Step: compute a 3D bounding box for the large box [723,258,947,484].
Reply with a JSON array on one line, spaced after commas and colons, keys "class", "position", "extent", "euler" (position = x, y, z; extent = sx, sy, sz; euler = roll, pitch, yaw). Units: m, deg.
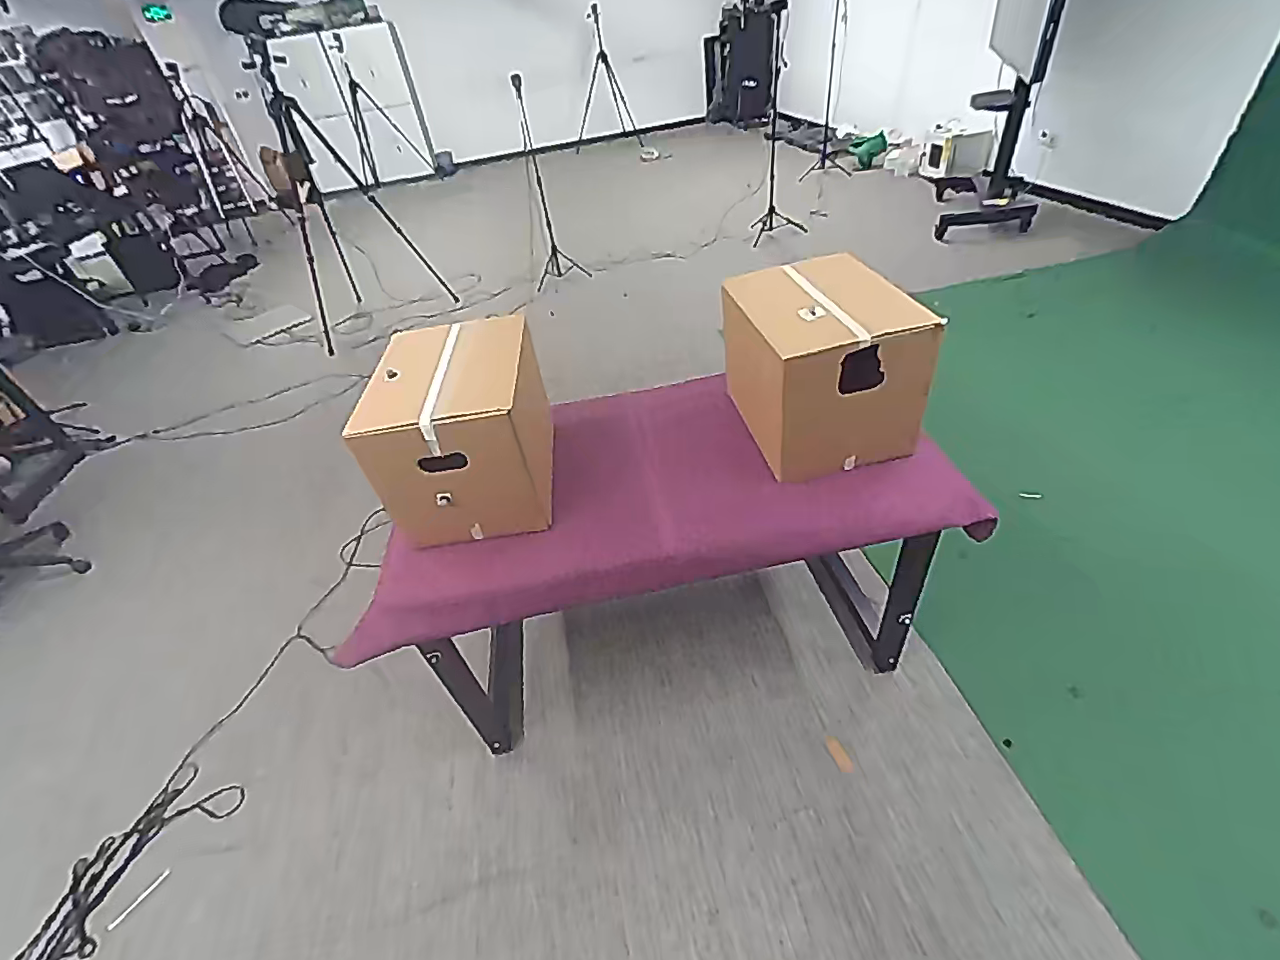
[{"class": "large box", "position": [0.397, -0.257, 1.223], "extent": [0.320, 0.320, 0.408], "euler": [-14, 41, -1]}]
